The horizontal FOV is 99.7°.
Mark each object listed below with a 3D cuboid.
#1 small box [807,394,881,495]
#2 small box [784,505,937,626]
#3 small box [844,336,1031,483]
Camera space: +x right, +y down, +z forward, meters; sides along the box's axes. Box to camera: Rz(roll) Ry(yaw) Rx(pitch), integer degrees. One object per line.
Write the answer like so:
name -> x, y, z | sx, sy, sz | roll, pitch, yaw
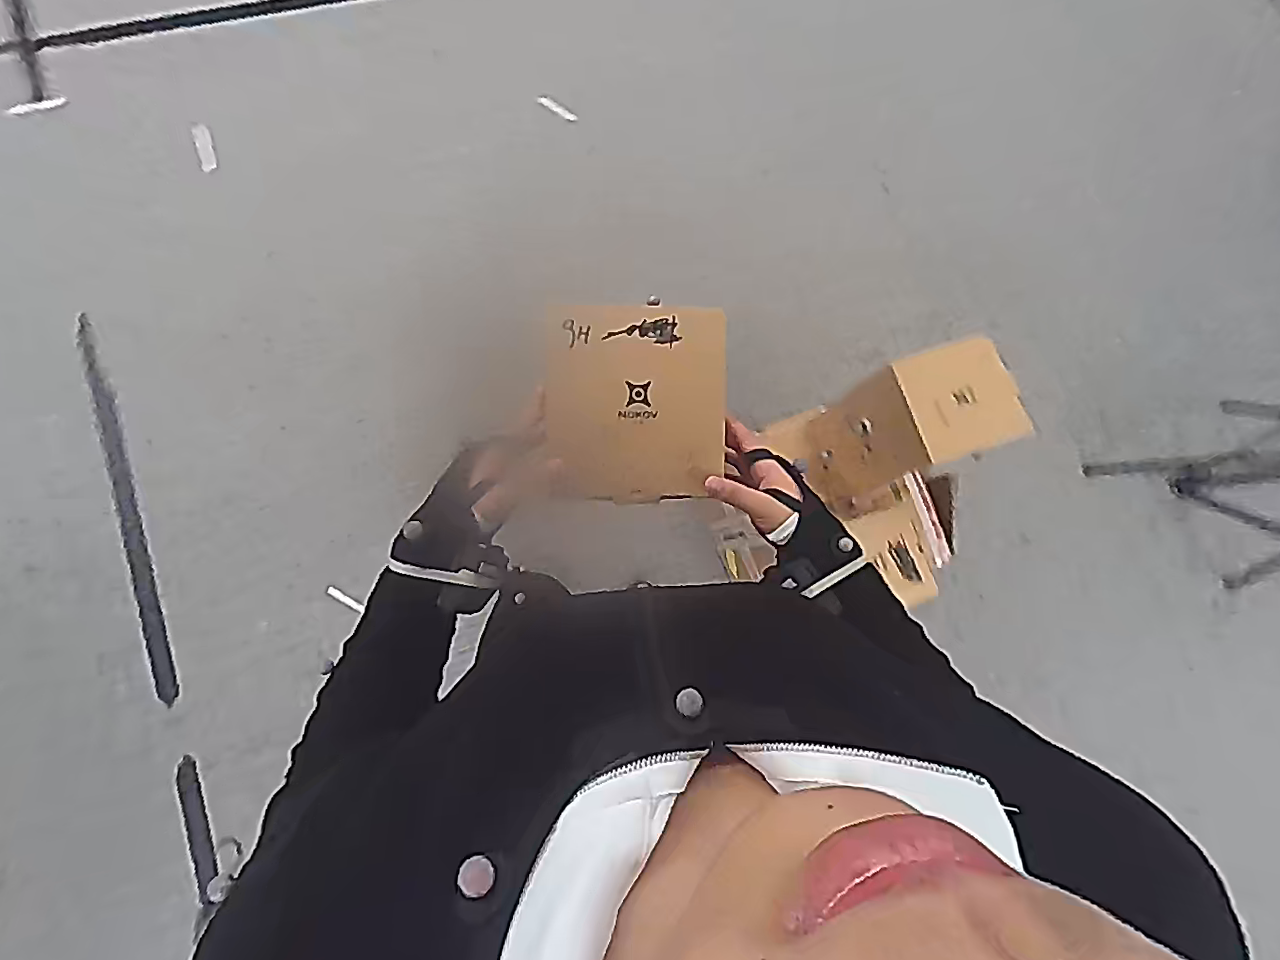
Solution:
small box -> 0.454, -0.079, 1.038 | 0.179, 0.176, 0.168 | -17, 81, -8
small box -> 0.394, 0.152, 0.995 | 0.179, 0.176, 0.168 | -18, 84, -7
small box -> 0.468, -0.106, 0.878 | 0.179, 0.176, 0.168 | -17, 81, -7
